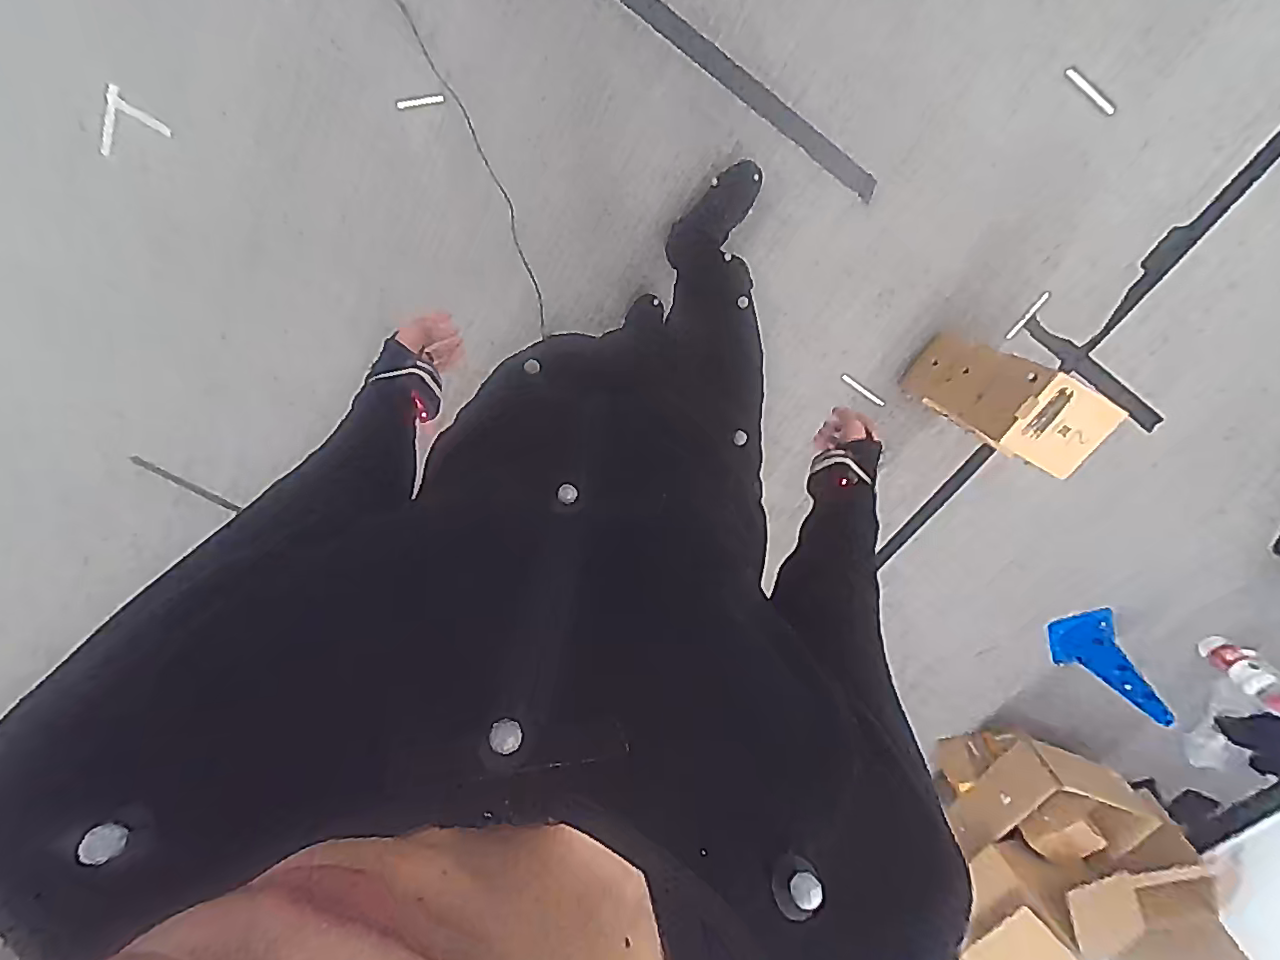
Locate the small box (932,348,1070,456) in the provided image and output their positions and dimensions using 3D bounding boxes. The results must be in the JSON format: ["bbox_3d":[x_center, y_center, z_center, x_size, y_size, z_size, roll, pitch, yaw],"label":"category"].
[{"bbox_3d":[0.842,-0.191,1.279,0.179,0.176,0.168,34,113,-10],"label":"small box"}]

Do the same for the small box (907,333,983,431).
[{"bbox_3d":[0.839,-0.263,1.425,0.168,0.176,0.179,29,112,-9],"label":"small box"}]
